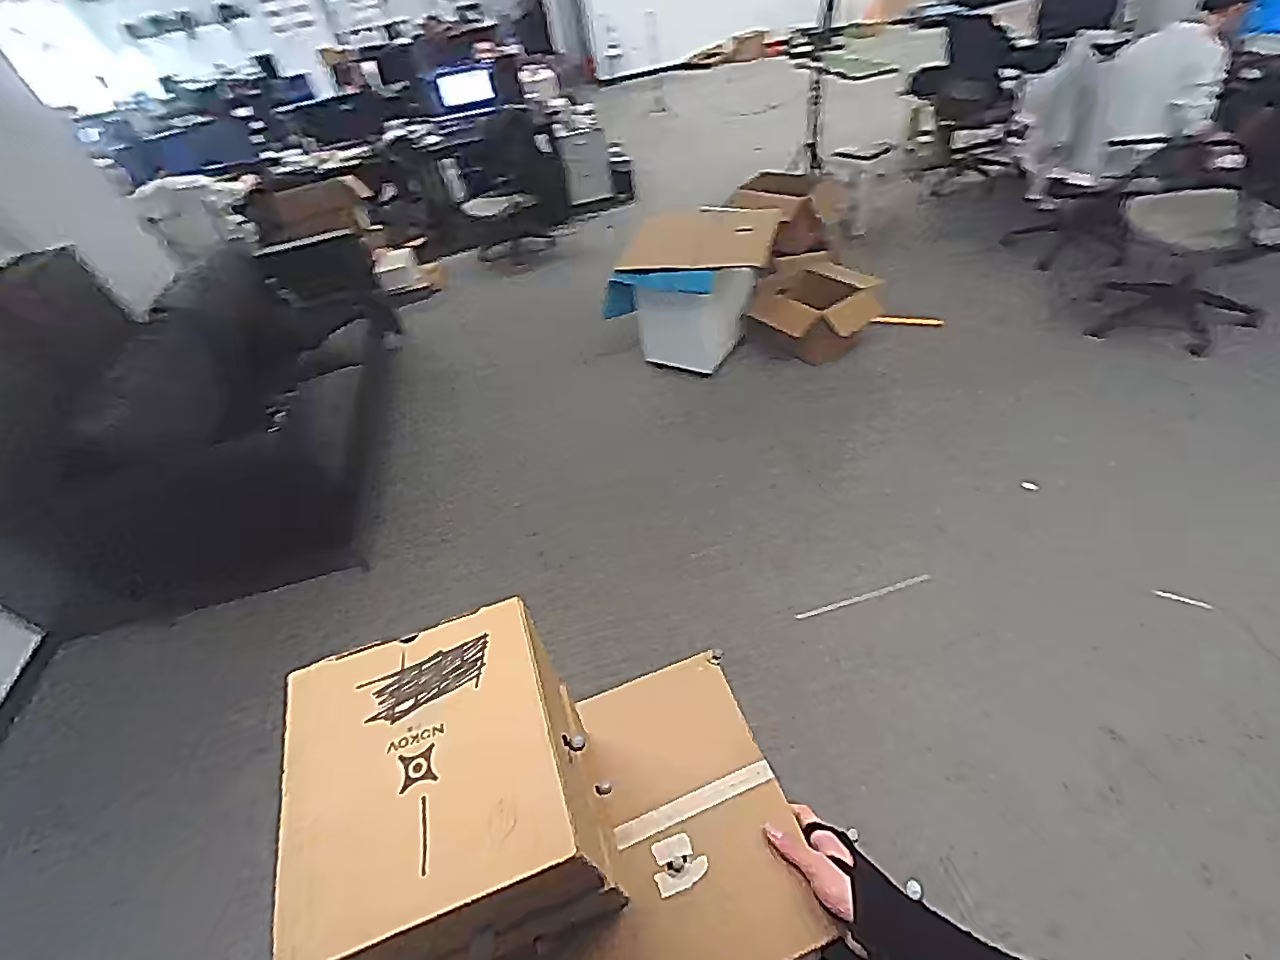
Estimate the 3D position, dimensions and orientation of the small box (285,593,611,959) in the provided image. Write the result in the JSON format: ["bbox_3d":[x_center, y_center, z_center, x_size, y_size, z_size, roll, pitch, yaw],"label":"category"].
[{"bbox_3d":[-0.127,0.219,0.405,0.168,0.176,0.179,-17,51,-9],"label":"small box"}]

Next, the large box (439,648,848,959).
[{"bbox_3d":[-0.019,0.488,0.705,0.408,0.320,0.320,-17,51,-11],"label":"large box"}]
